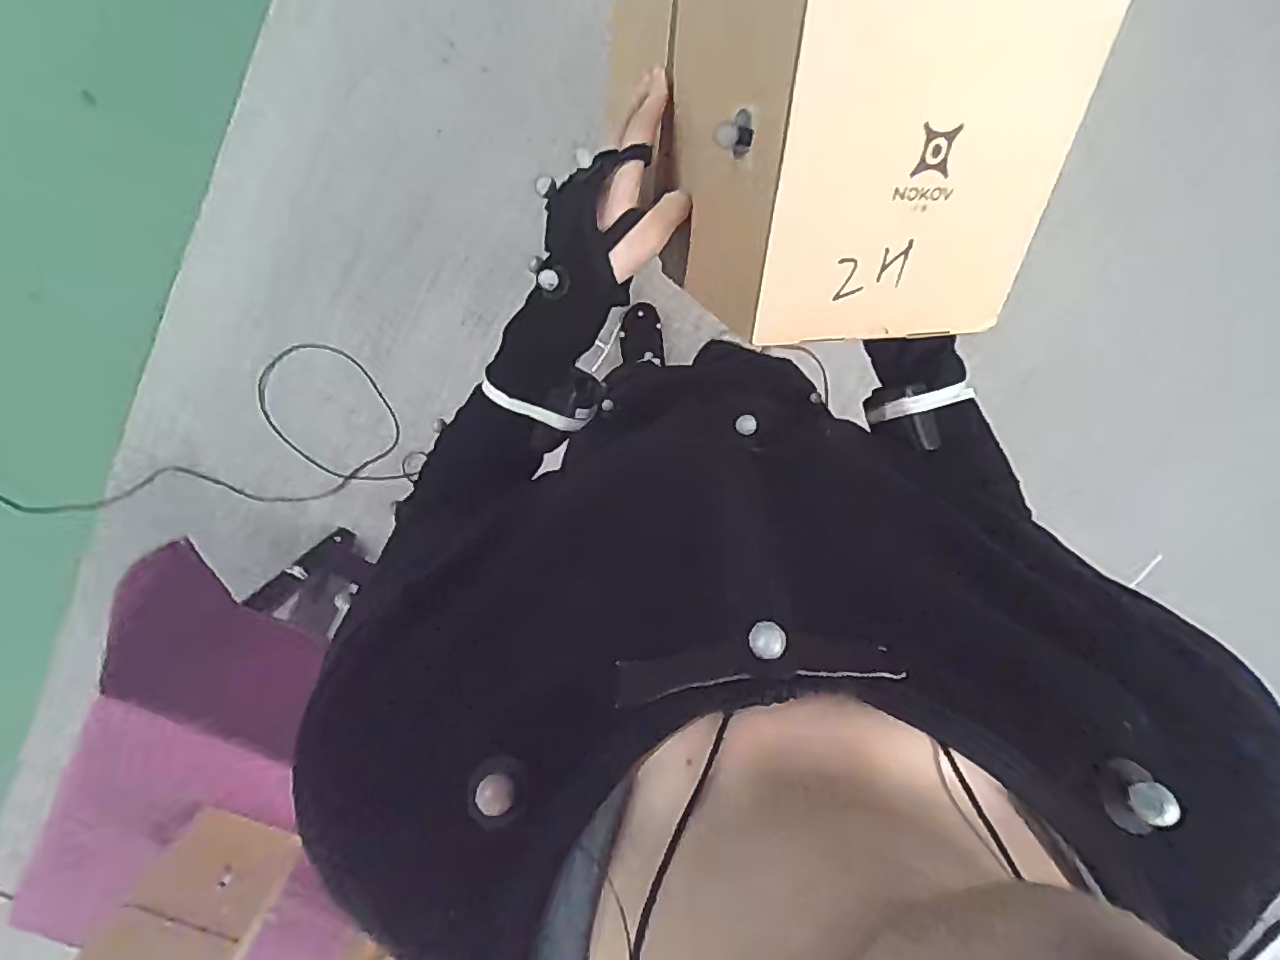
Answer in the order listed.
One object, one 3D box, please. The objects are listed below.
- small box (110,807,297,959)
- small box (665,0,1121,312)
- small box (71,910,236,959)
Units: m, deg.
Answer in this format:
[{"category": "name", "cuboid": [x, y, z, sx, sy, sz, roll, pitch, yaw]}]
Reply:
[{"category": "small box", "cuboid": [-0.698, 0.670, 0.867, 0.179, 0.176, 0.168, 28, 105, -10]}, {"category": "small box", "cuboid": [0.120, -0.213, 0.327, 0.168, 0.176, 0.179, -5, 126, -14]}, {"category": "small box", "cuboid": [-0.692, 0.717, 0.709, 0.179, 0.176, 0.168, 29, 105, -10]}]
